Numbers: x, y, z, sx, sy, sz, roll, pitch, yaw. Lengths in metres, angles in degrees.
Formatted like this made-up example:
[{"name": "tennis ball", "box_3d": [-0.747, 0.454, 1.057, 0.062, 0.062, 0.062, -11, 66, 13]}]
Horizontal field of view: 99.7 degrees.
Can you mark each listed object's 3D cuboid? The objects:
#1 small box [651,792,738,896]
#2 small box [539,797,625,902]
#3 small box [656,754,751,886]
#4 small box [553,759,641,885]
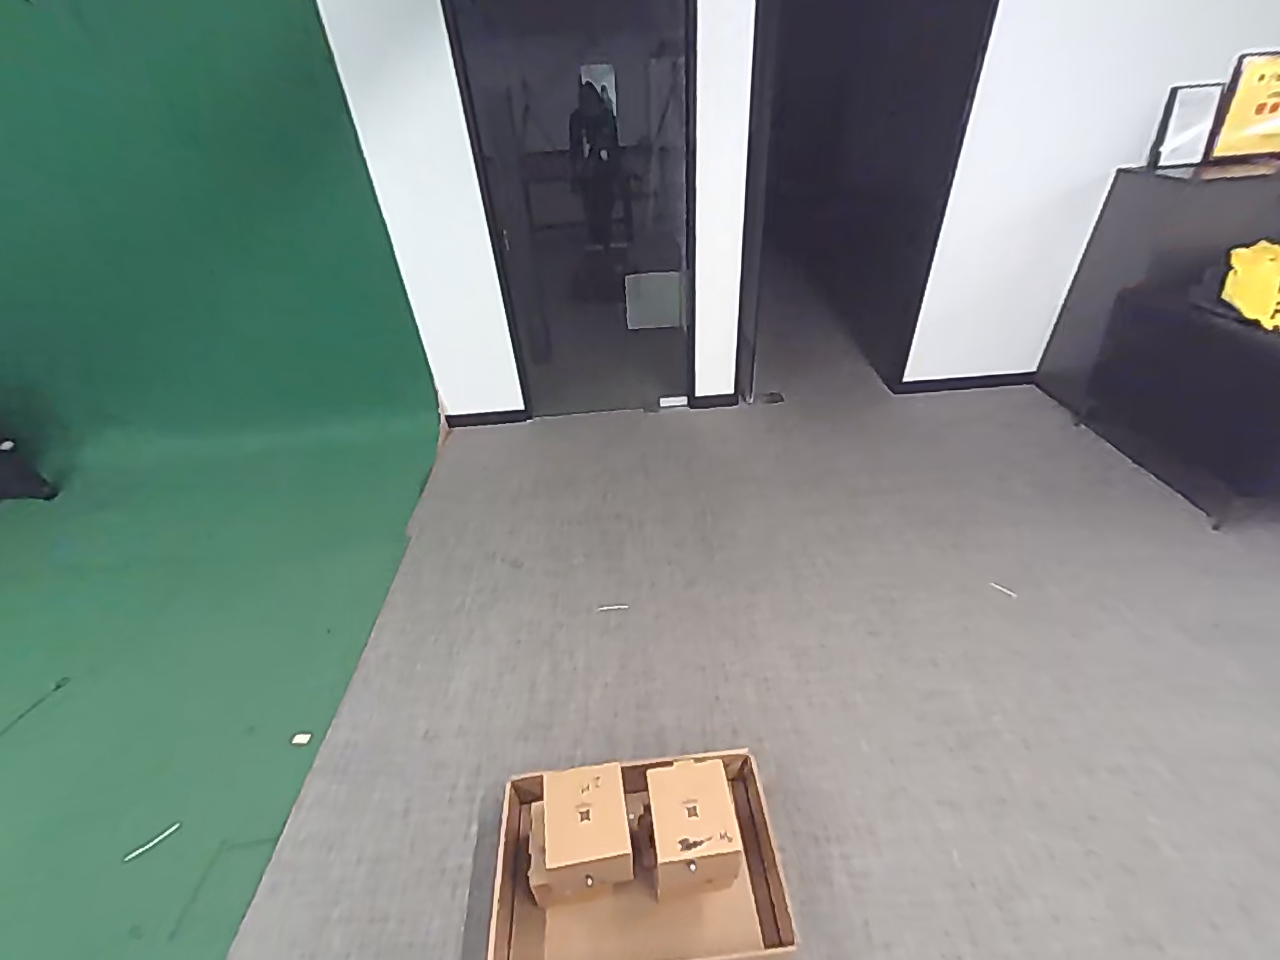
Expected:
[{"name": "small box", "box_3d": [0.130, 0.828, 1.253, 0.179, 0.176, 0.168, -10, 38, -6]}, {"name": "small box", "box_3d": [-0.133, 0.849, 1.255, 0.179, 0.176, 0.168, -6, 39, -5]}, {"name": "small box", "box_3d": [0.128, 0.712, 1.135, 0.168, 0.176, 0.179, -9, 37, -2]}, {"name": "small box", "box_3d": [-0.091, 0.727, 1.144, 0.168, 0.176, 0.179, -6, 39, -7]}]
